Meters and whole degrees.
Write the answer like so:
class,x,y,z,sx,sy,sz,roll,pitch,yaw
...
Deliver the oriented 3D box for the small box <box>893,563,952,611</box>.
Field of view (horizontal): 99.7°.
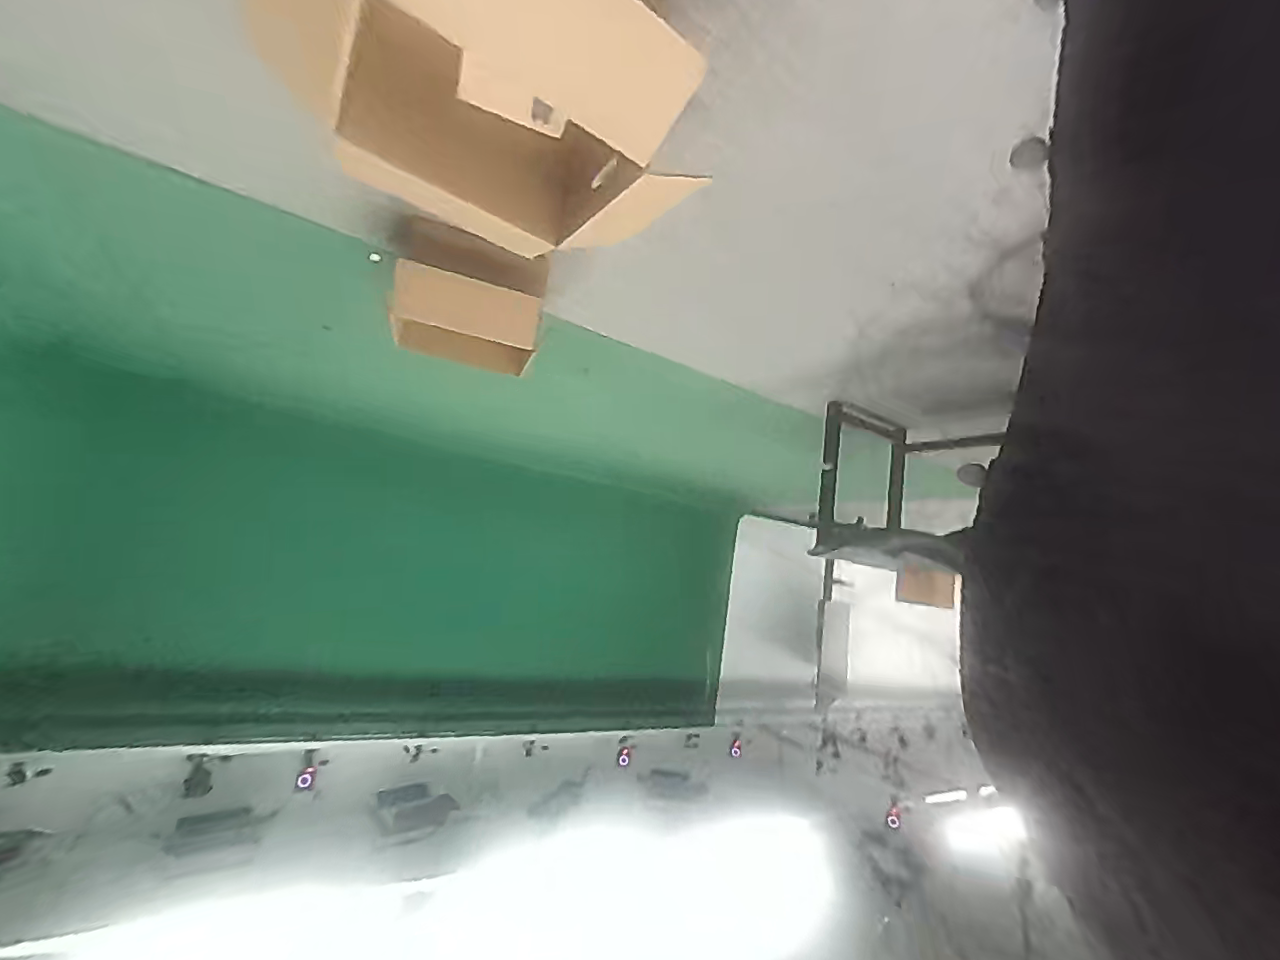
class,x,y,z,sx,sy,sz,roll,pitch,yaw
small box,1.206,0.454,2.302,0.179,0.176,0.168,15,168,-34
